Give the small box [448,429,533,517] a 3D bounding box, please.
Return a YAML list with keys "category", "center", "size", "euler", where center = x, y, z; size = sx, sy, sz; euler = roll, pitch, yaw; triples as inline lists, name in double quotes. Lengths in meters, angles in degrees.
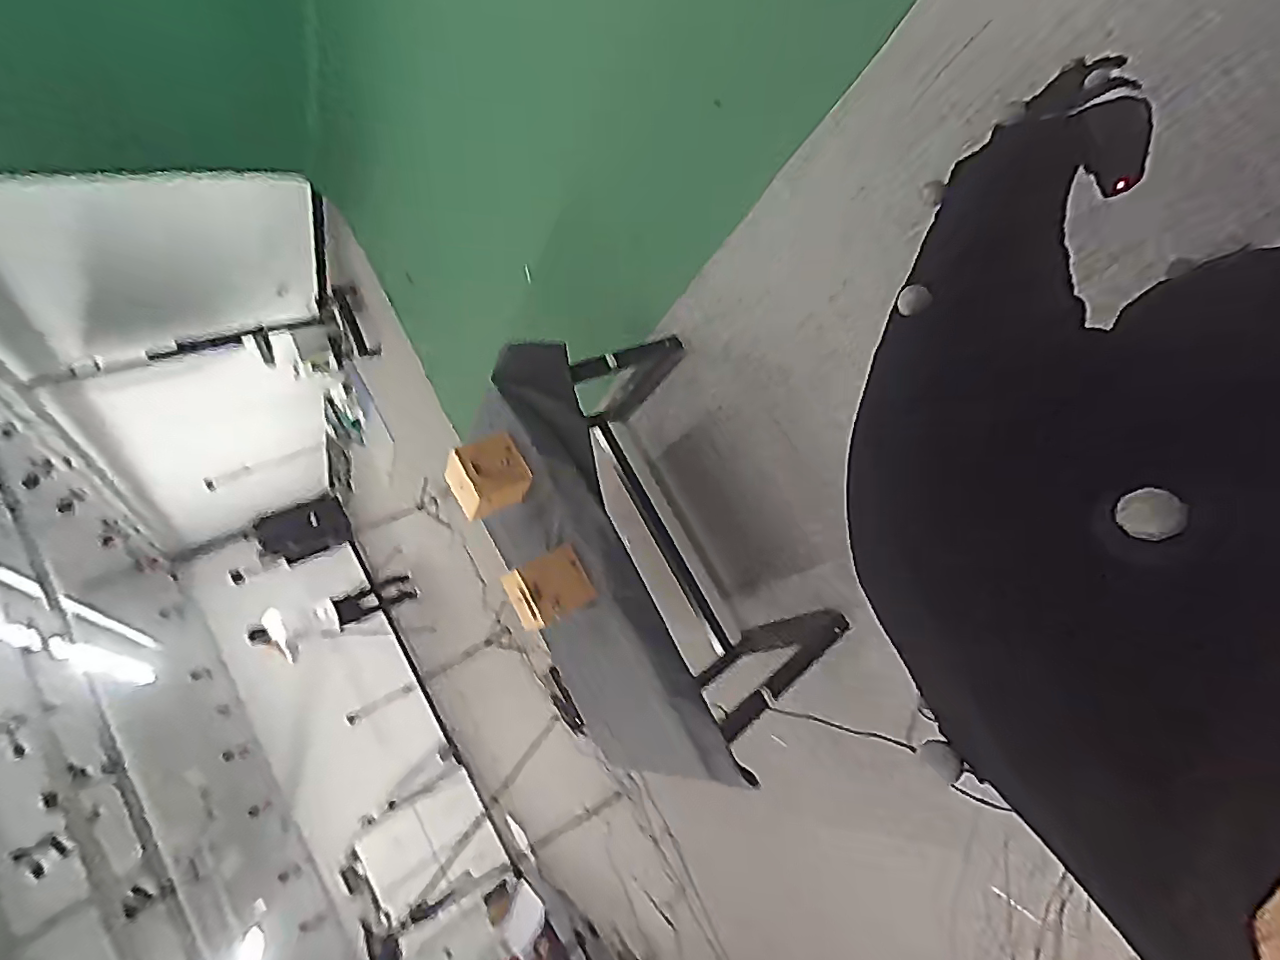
- category: "small box"
  center: [-0.428, -0.020, 1.556]
  size: [0.168, 0.176, 0.179]
  euler: [58, 144, 11]
